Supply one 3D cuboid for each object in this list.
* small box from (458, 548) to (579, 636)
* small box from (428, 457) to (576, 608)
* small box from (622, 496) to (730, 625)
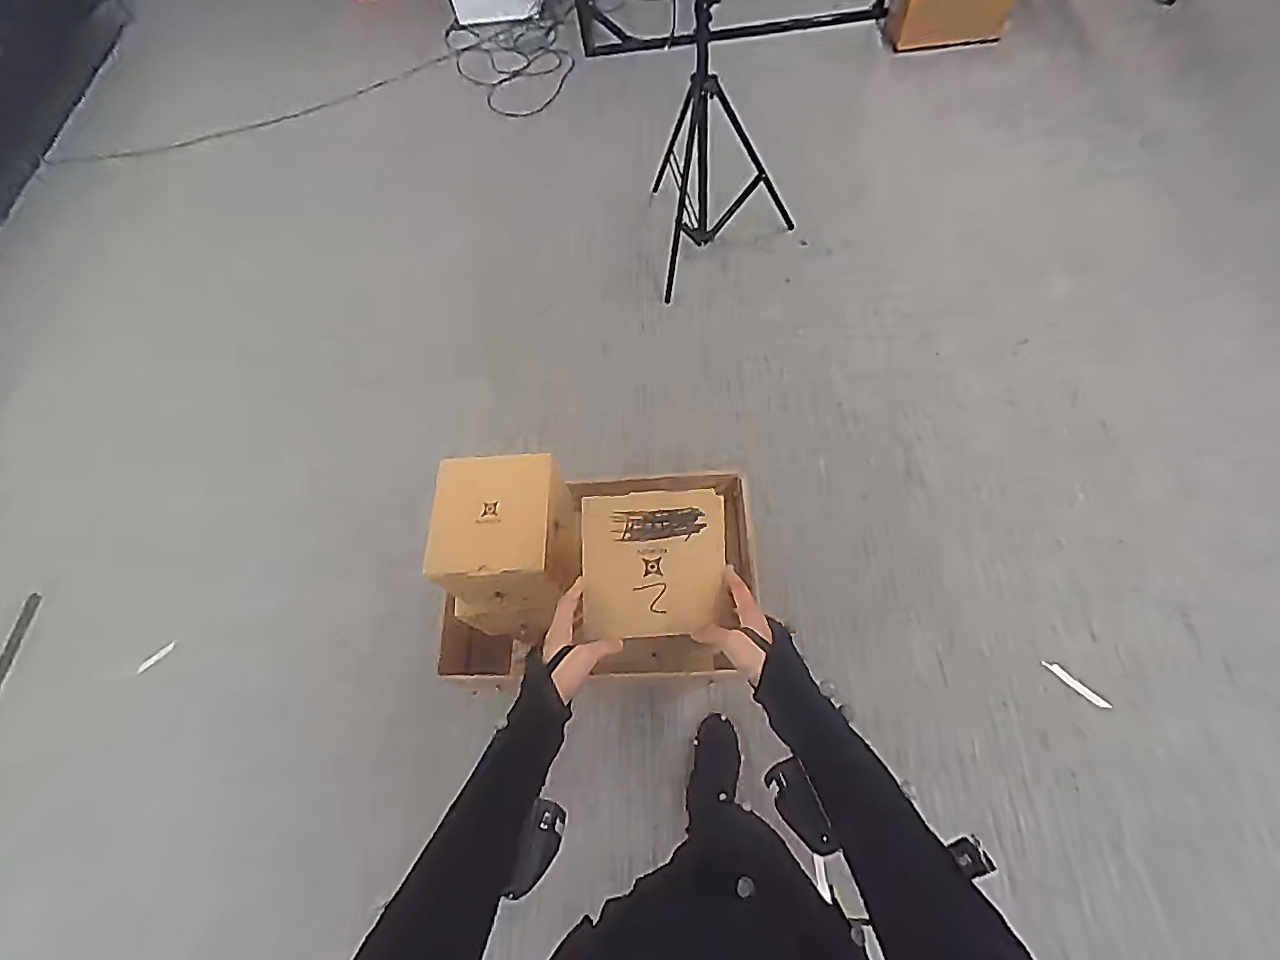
[{"bbox_3d":[-0.204,0.166,0.950,0.168,0.176,0.179,-7,65,2],"label":"small box"},{"bbox_3d":[-0.192,0.083,0.807,0.168,0.176,0.179,-4,65,3],"label":"small box"},{"bbox_3d":[0.067,0.140,0.924,0.168,0.176,0.179,-1,64,8],"label":"small box"}]
